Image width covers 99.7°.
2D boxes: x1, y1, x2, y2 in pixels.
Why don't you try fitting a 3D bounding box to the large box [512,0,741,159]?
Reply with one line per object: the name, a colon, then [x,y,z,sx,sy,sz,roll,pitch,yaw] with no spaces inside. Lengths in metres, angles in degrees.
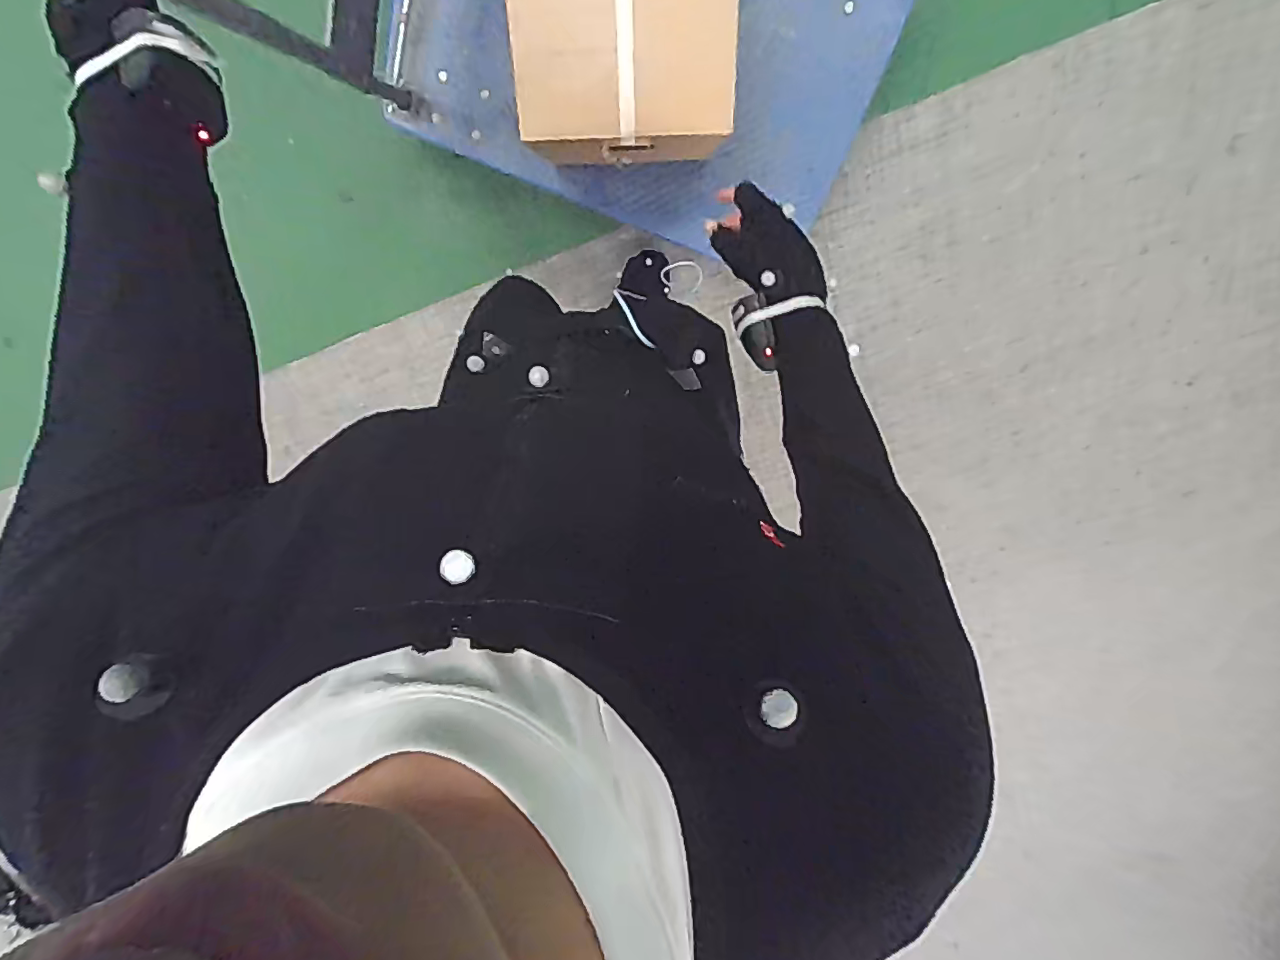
large box: [-0.017,-0.755,0.843,0.320,0.320,0.408,-1,114,1]
